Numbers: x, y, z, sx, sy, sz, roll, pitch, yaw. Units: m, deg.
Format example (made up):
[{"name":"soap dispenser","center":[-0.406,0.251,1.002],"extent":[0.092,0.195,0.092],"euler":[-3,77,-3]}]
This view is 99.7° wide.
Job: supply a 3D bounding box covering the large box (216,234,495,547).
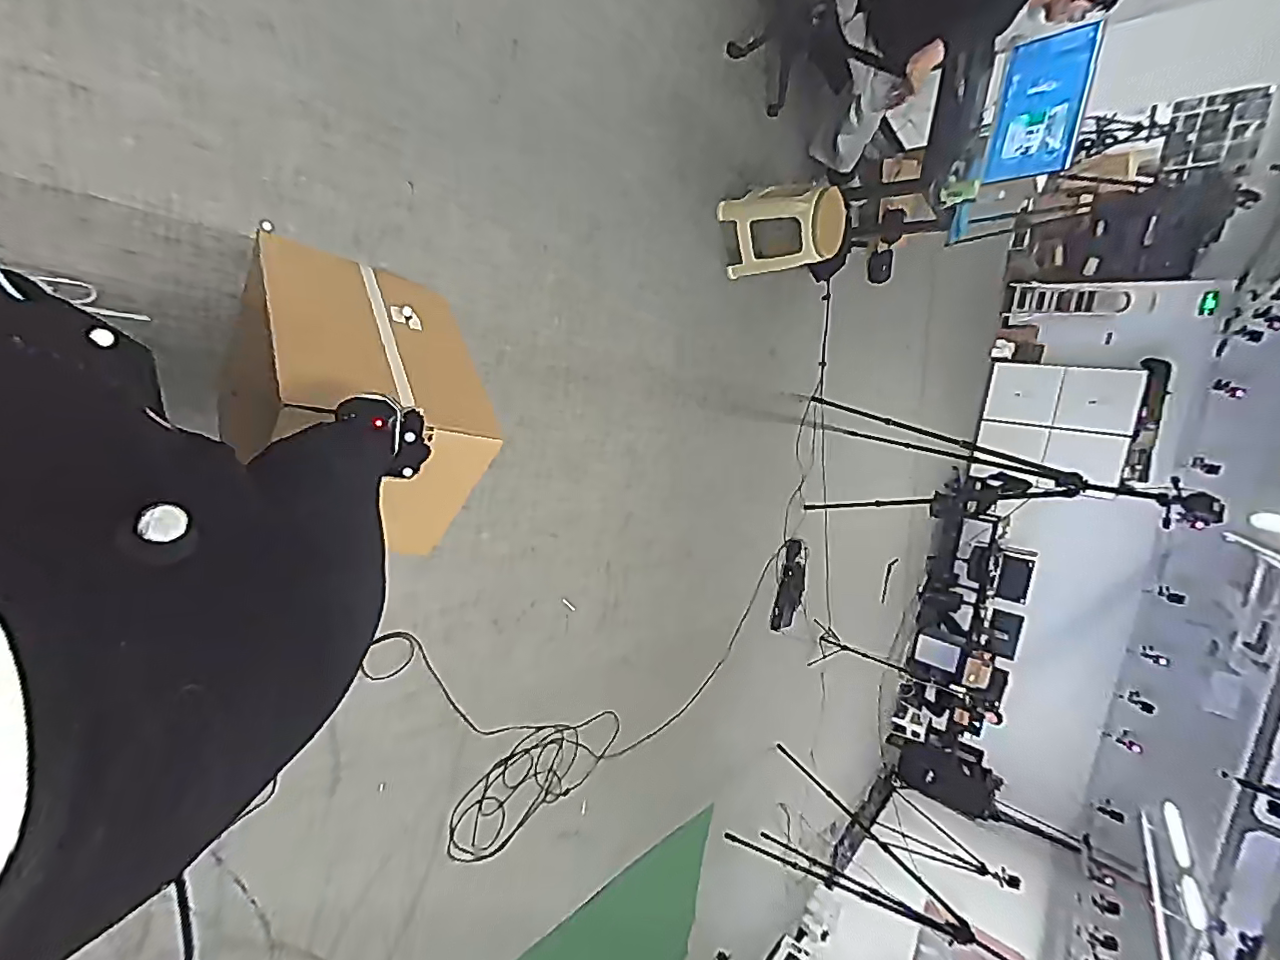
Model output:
[{"name":"large box","center":[-0.510,-0.133,0.938],"extent":[0.320,0.408,0.320],"euler":[8,133,-47]}]
